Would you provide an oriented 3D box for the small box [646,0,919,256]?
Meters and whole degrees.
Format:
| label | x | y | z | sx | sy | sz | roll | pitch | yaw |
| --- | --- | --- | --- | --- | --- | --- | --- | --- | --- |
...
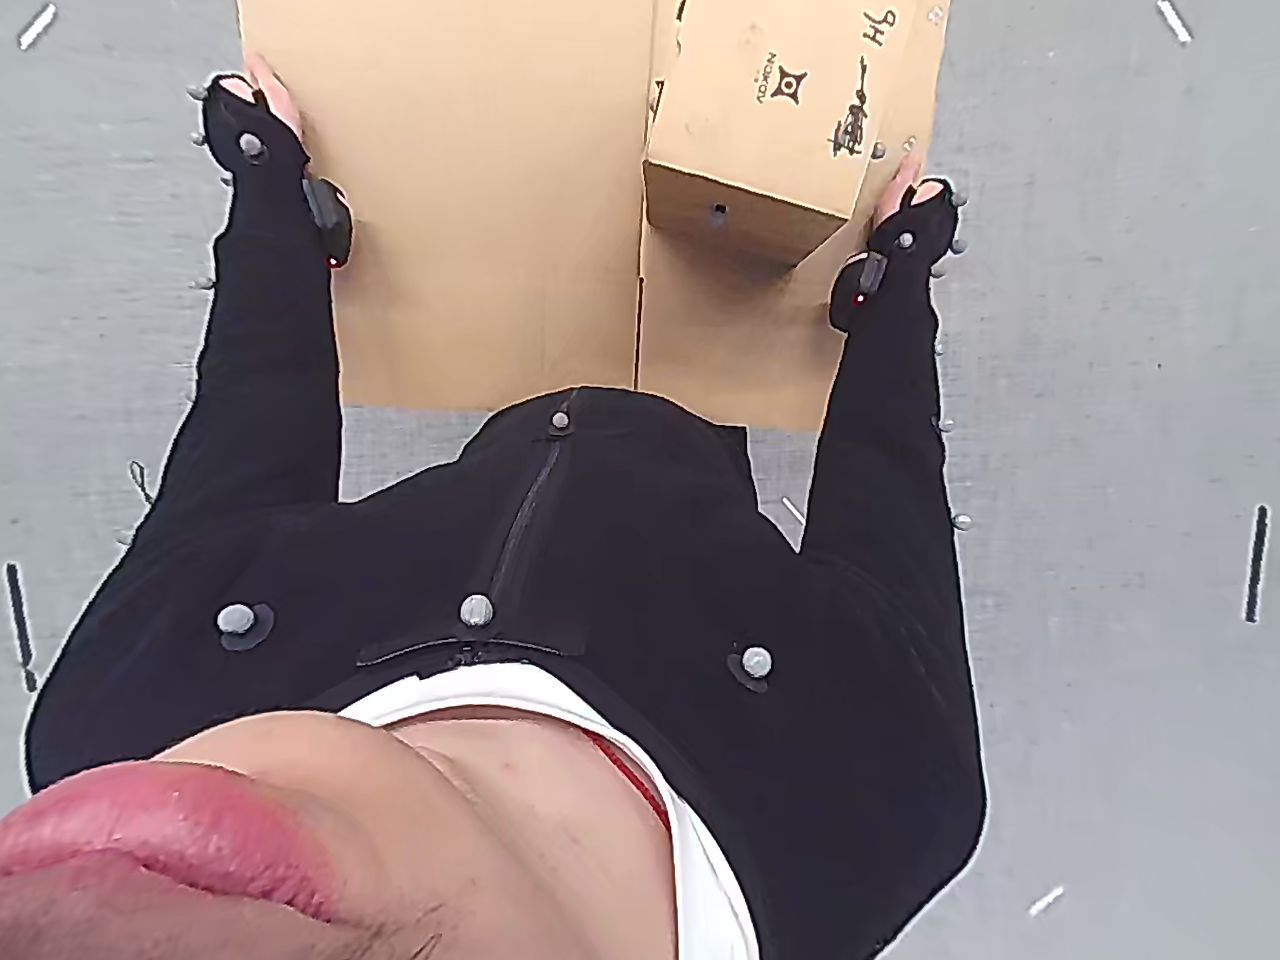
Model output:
| label | x | y | z | sx | sy | sz | roll | pitch | yaw |
| --- | --- | --- | --- | --- | --- | --- | --- | --- | --- |
| small box | 0.113 | -0.327 | 0.505 | 0.179 | 0.176 | 0.168 | 16 | 100 | 0 |
